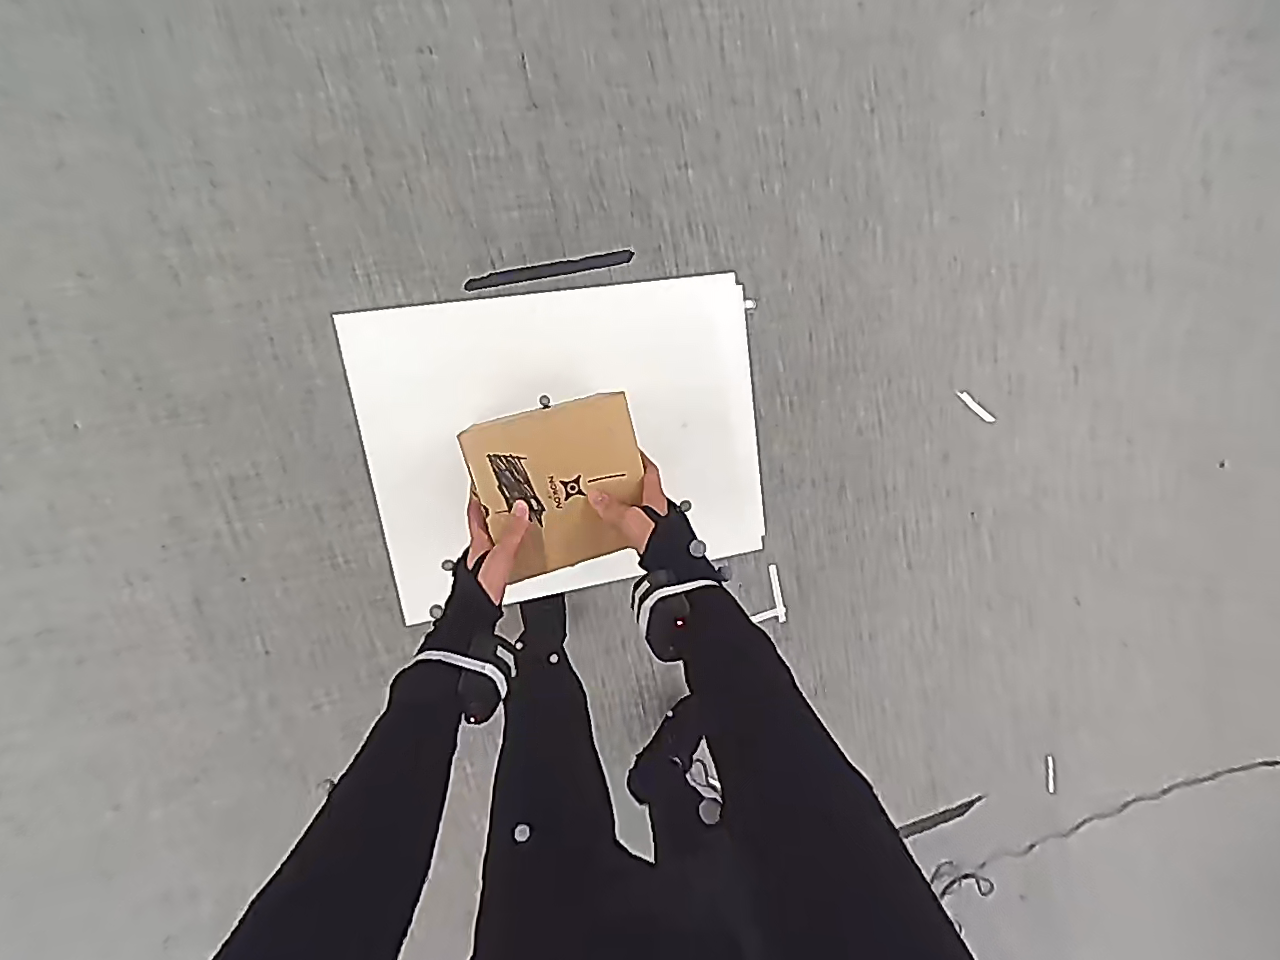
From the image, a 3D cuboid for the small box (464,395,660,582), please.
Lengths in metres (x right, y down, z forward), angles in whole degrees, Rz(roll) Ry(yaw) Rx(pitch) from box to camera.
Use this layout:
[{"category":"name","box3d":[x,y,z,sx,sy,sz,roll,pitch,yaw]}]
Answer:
[{"category":"small box","box3d":[-0.094,0.000,0.643,0.179,0.176,0.168,-15,101,-11]}]
